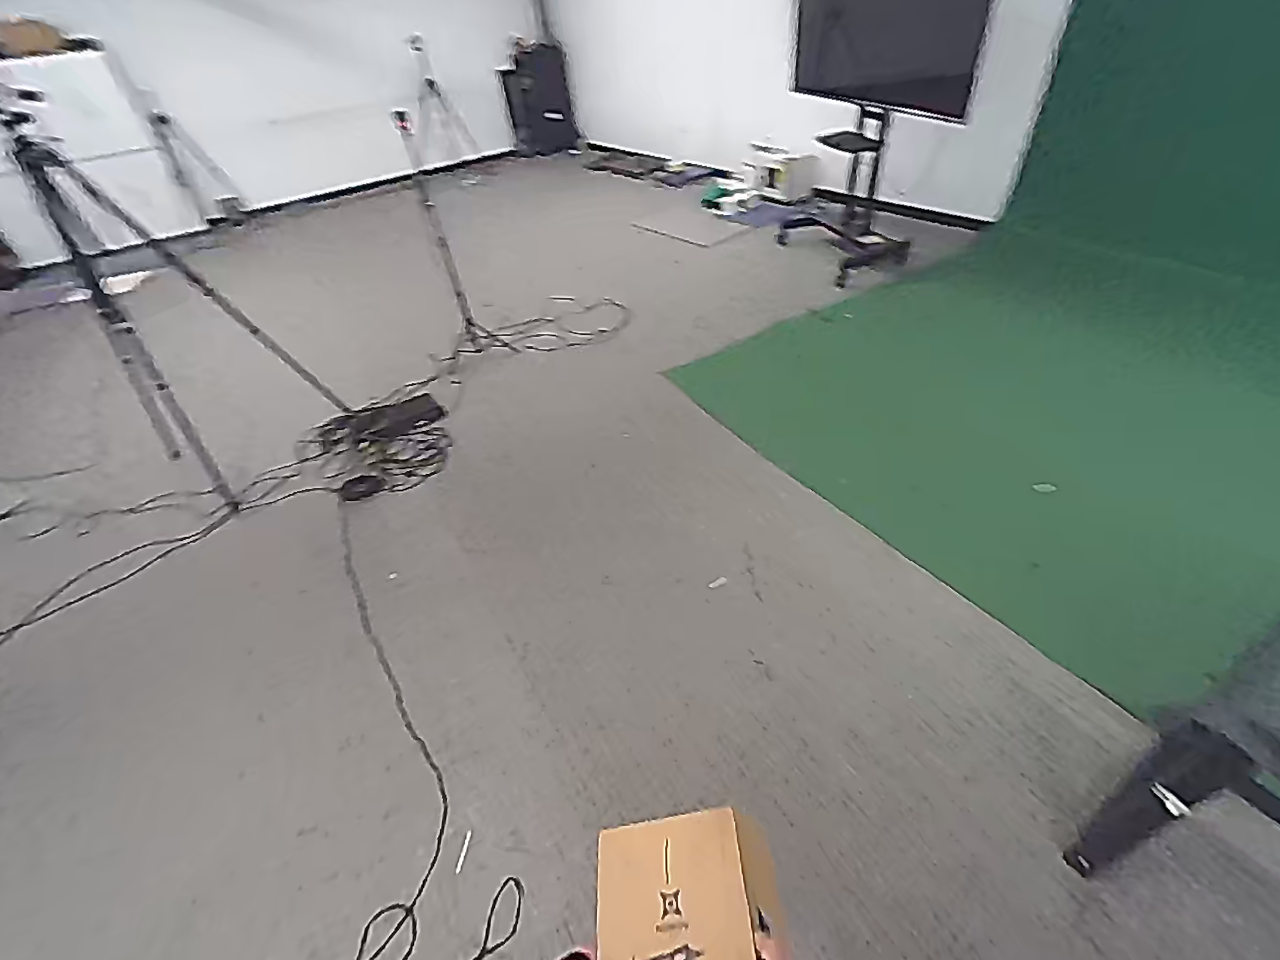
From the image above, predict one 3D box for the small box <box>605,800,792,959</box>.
[{"bbox_3d":[0.069,0.492,0.624,0.168,0.176,0.179,-17,45,14],"label":"small box"}]
